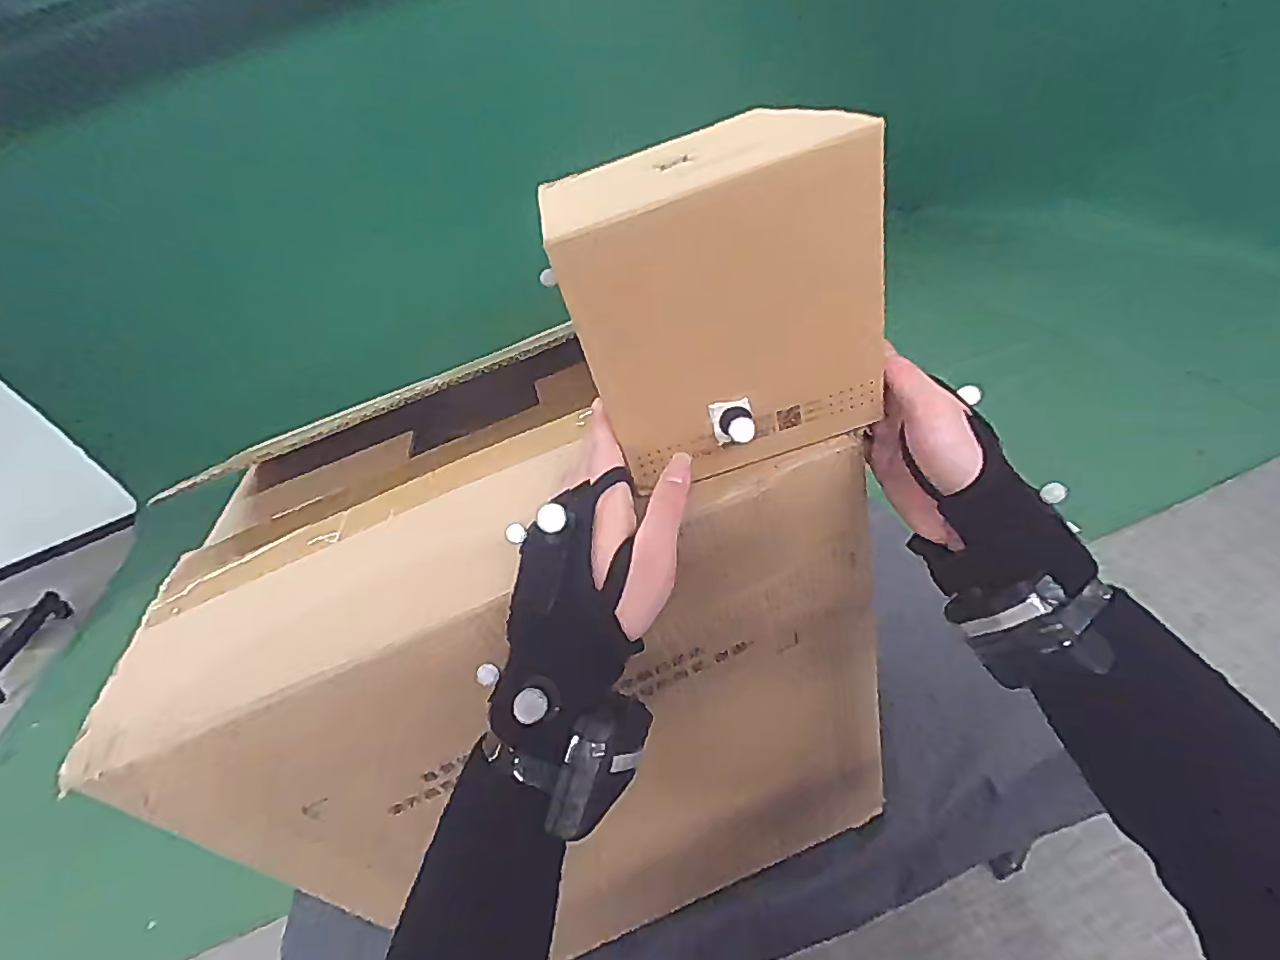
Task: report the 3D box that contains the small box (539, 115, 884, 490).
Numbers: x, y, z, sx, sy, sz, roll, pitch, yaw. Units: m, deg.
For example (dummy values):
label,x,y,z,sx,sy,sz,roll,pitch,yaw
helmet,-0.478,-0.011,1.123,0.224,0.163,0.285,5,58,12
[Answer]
label,x,y,z,sx,sy,sz,roll,pitch,yaw
small box,0.042,-0.123,0.367,0.168,0.176,0.179,-20,37,1
